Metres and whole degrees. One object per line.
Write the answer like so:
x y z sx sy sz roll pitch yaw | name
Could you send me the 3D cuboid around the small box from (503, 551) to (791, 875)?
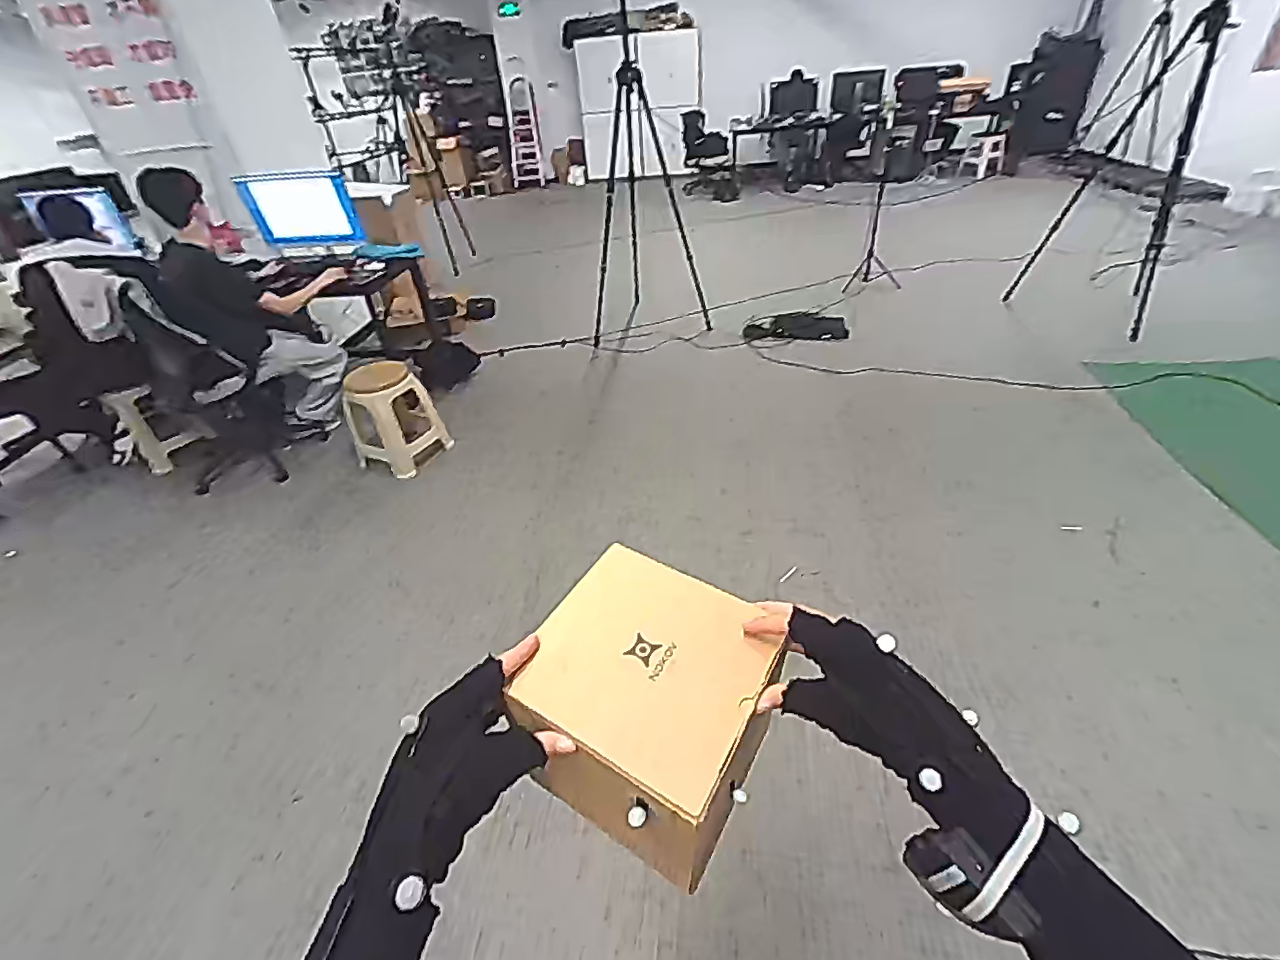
0.008 0.200 0.478 0.179 0.176 0.168 23 45 25 | small box
